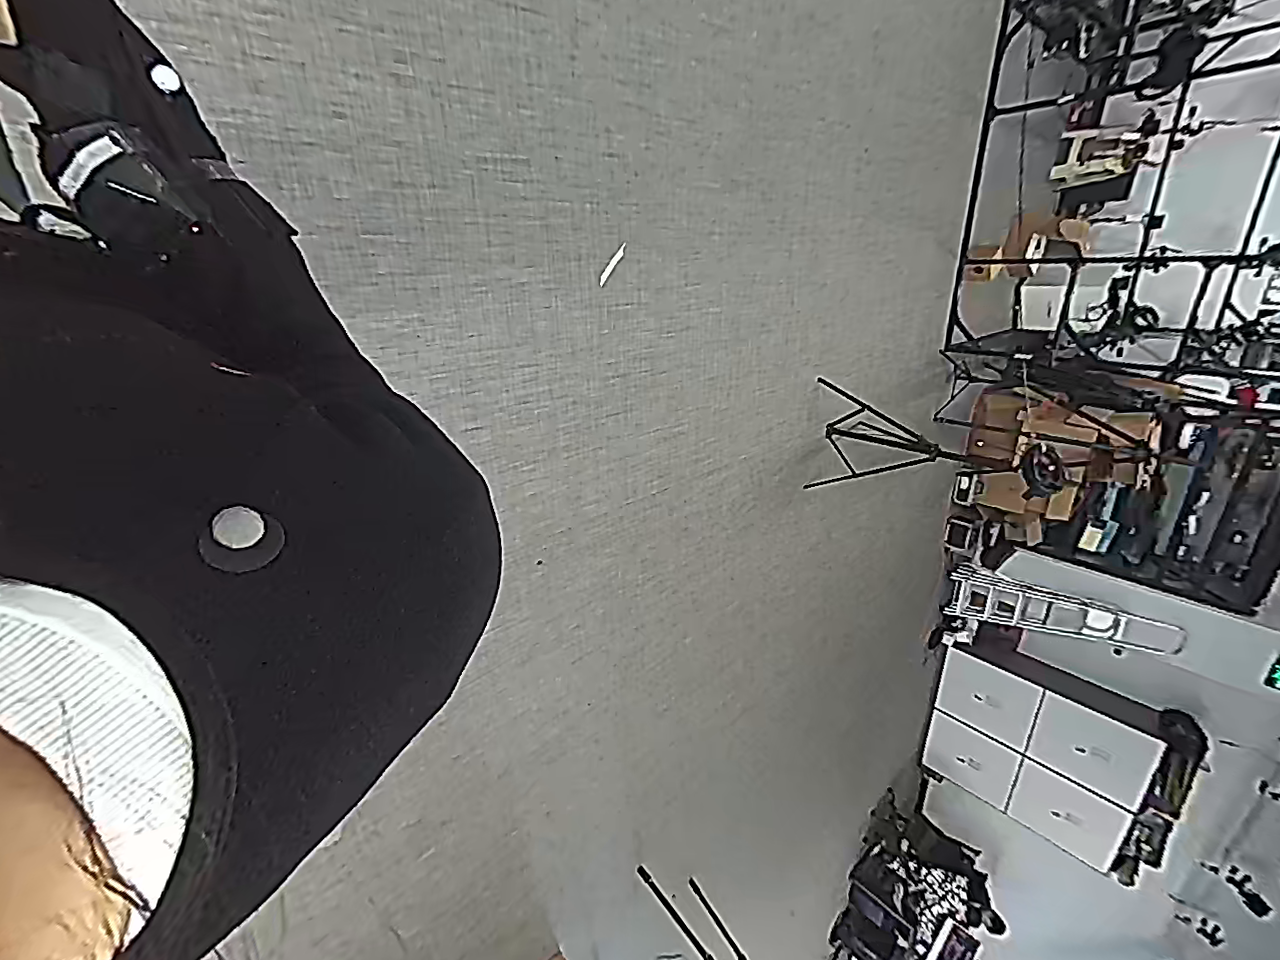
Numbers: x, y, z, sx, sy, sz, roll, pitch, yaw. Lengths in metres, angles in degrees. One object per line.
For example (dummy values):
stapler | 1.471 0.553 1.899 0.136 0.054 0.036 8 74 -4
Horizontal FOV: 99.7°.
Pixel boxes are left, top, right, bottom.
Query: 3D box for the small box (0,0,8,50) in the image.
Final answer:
small box | -0.325 -0.249 0.142 0.176 0.168 0.179 -18 126 -41
